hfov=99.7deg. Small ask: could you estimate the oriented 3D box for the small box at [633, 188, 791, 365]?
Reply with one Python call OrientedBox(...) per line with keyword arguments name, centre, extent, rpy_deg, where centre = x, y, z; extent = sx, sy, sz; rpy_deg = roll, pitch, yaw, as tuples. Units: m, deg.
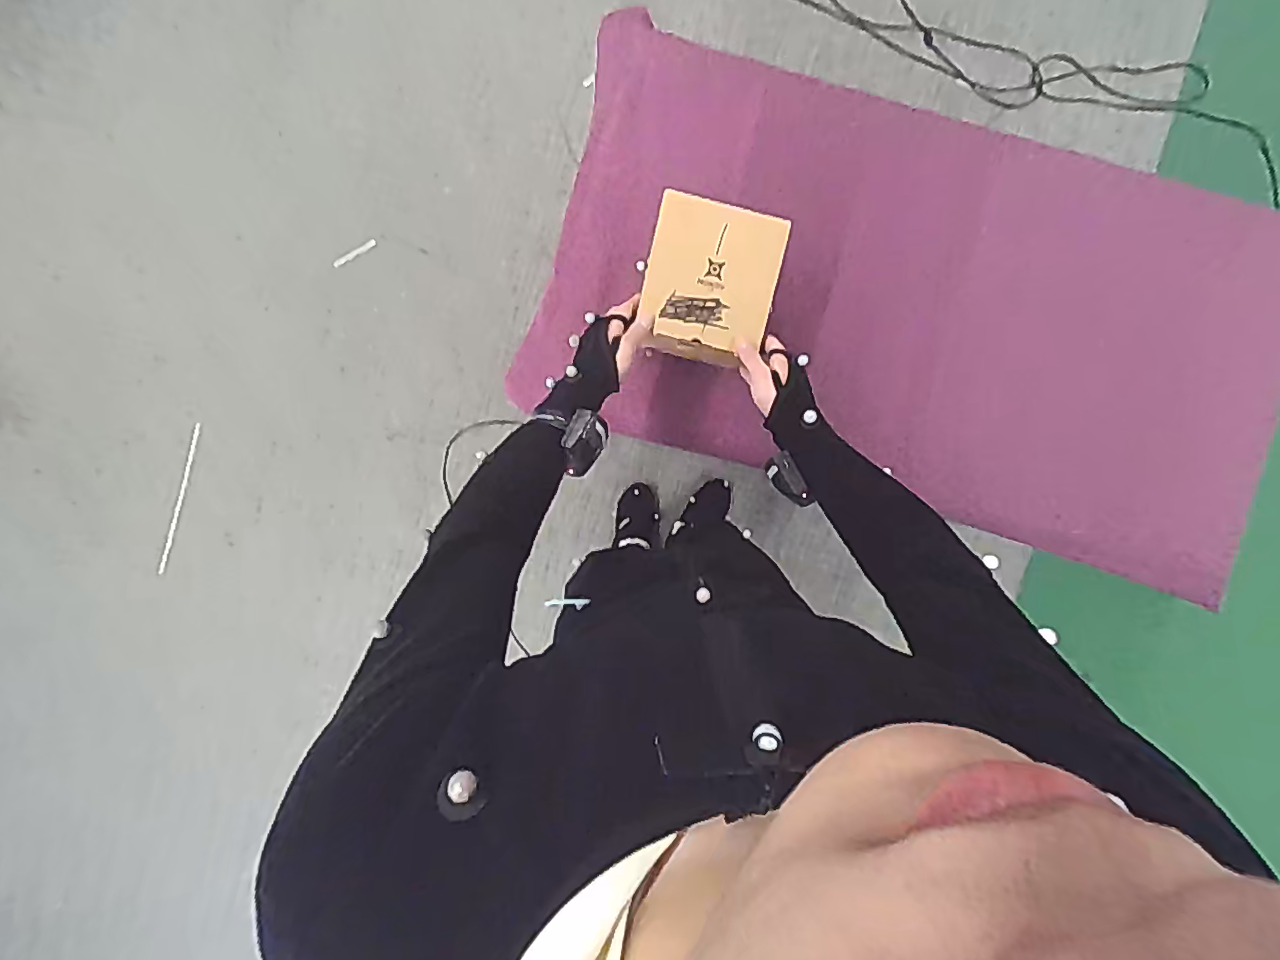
OrientedBox(name="small box", centre=(0.089, -0.266, 0.756), extent=(0.168, 0.176, 0.179), rpy_deg=(13, 96, -4))
